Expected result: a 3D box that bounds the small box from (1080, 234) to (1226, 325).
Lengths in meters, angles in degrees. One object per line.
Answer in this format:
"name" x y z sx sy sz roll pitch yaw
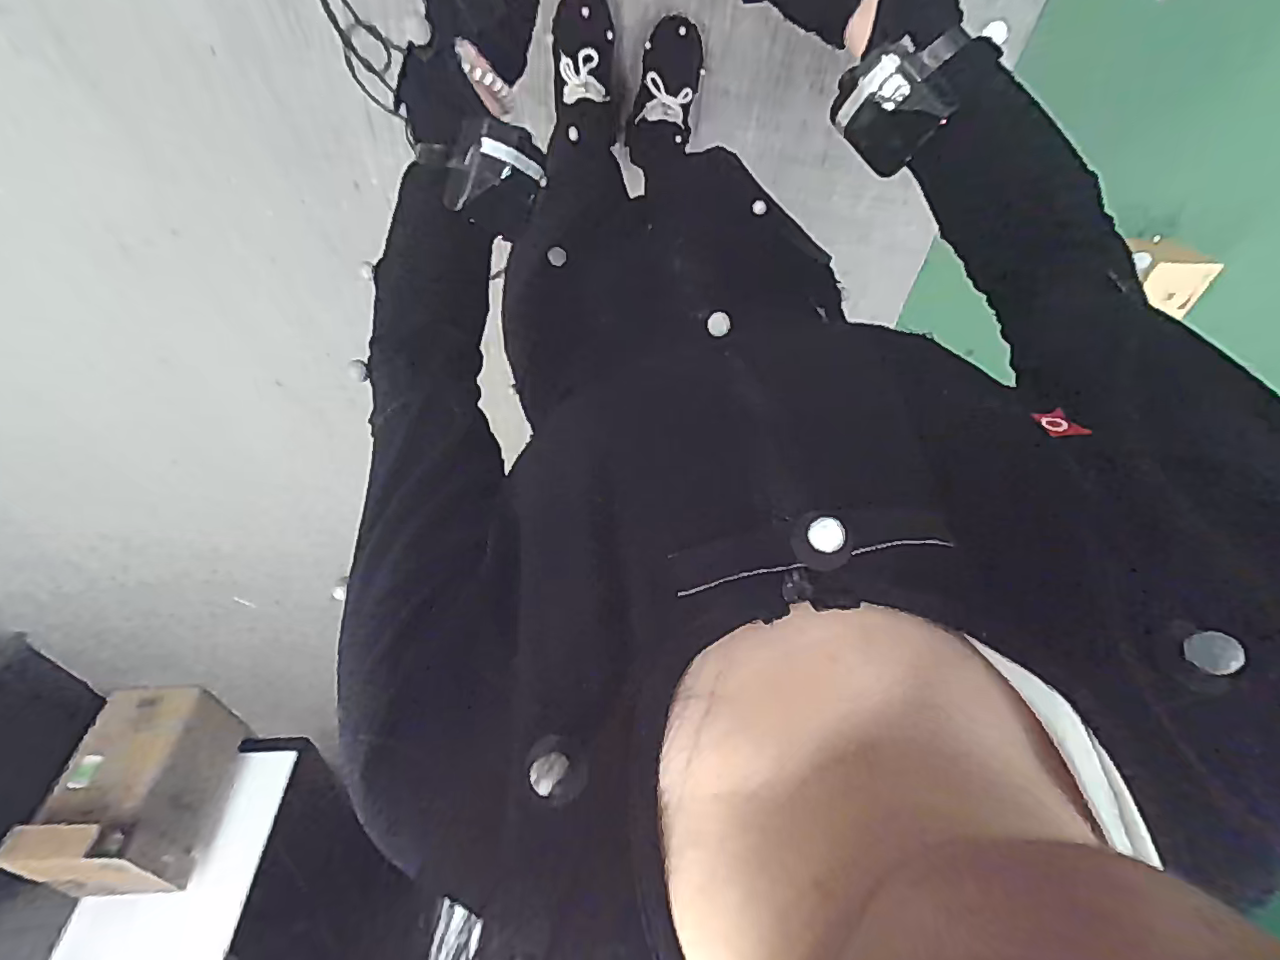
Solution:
"small box" 1.301 -0.519 1.391 0.179 0.176 0.168 1 135 -5
